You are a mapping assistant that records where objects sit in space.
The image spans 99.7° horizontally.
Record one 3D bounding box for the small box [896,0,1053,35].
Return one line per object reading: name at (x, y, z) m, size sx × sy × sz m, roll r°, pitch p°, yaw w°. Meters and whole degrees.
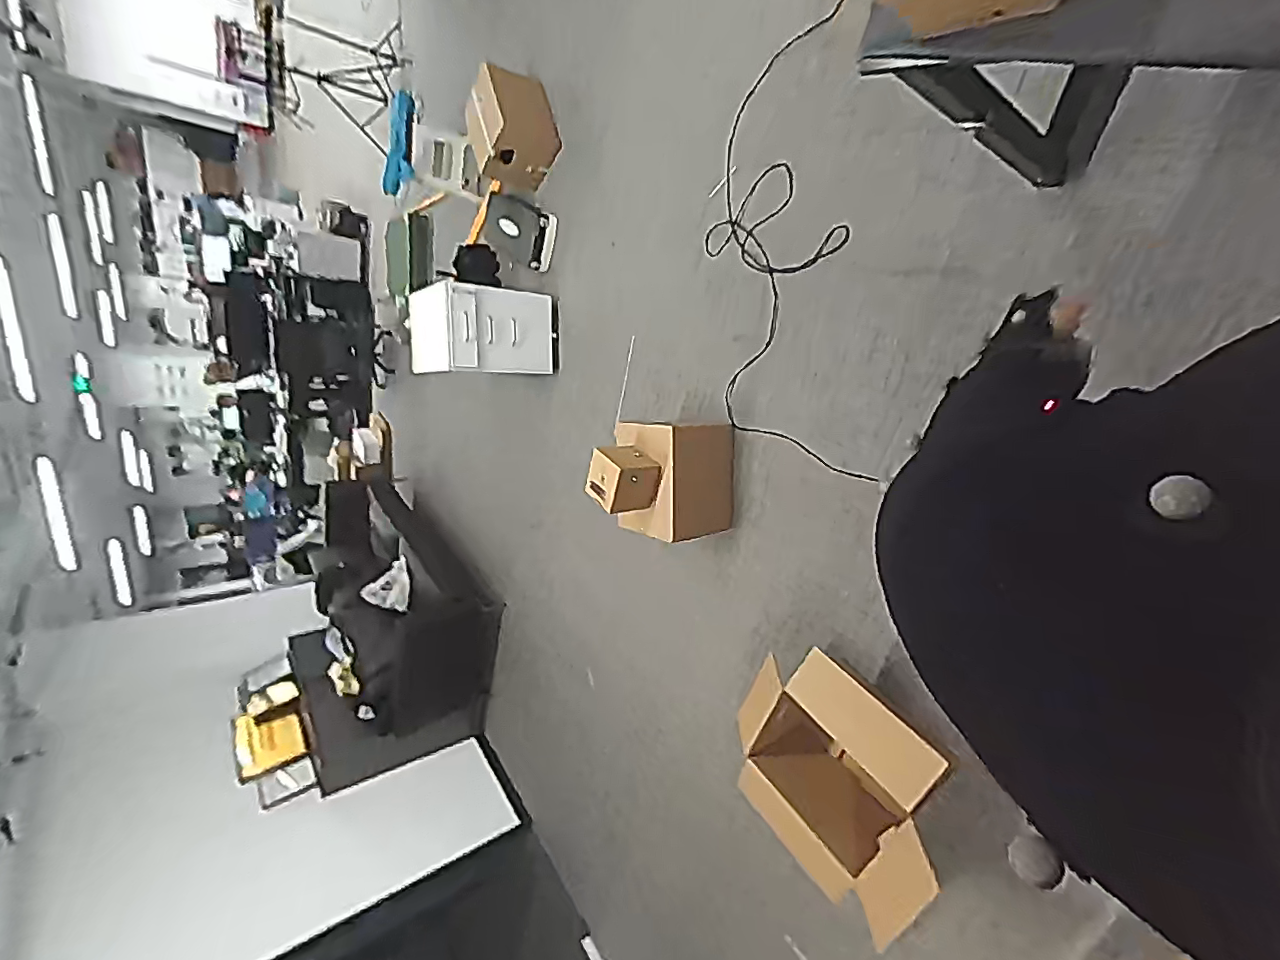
small box at (0.380, -0.646, 0.598) m, size 0.168 × 0.176 × 0.179 m, roll 29°, pitch 117°, yaw 45°
